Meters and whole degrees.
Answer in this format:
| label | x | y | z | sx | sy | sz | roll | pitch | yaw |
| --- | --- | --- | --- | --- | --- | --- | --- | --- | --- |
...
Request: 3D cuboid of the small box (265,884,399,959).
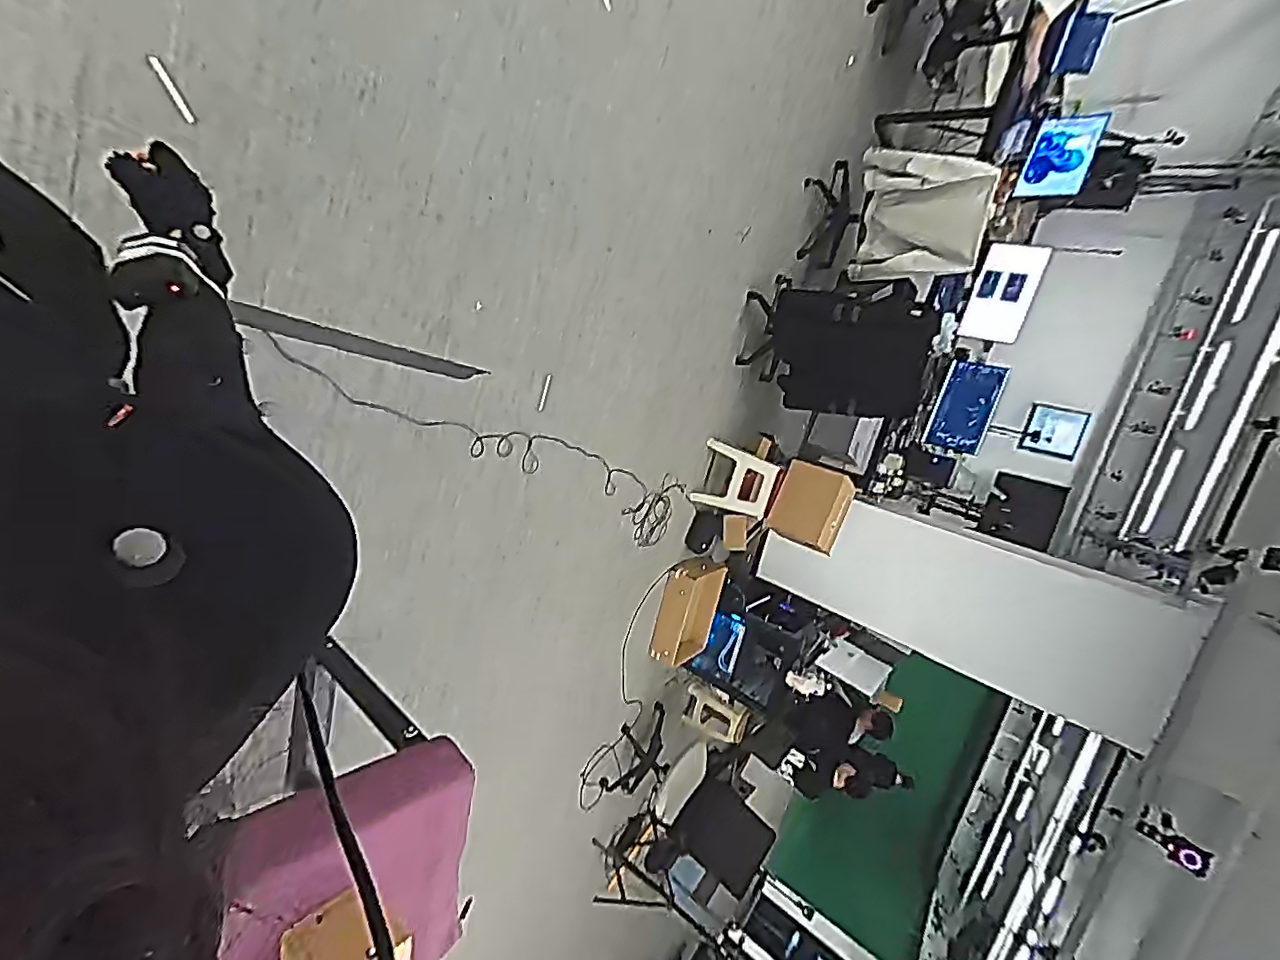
| label | x | y | z | sx | sy | sz | roll | pitch | yaw |
| --- | --- | --- | --- | --- | --- | --- | --- | --- | --- |
| small box | -0.579 | 0.923 | 1.012 | 0.168 | 0.176 | 0.179 | -10 | 117 | -52 |
